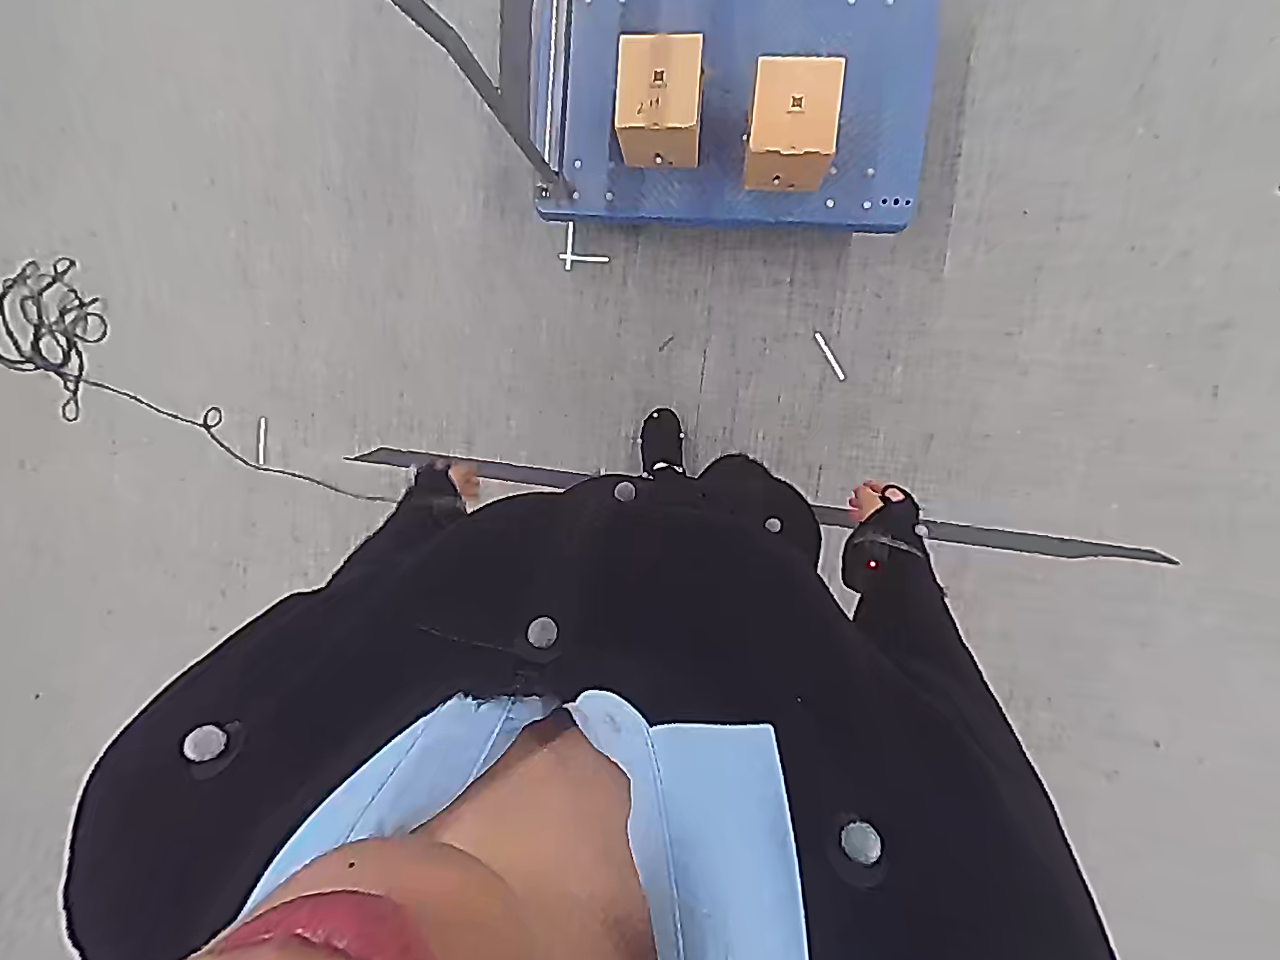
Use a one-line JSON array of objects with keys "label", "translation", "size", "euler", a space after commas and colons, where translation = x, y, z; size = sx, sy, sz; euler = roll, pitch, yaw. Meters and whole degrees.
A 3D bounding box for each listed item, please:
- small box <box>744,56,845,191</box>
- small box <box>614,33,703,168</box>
[{"label": "small box", "translation": [0.309, -0.727, 1.115], "size": [0.168, 0.176, 0.179], "euler": [5, 96, 6]}, {"label": "small box", "translation": [0.043, -0.790, 1.137], "size": [0.168, 0.176, 0.179], "euler": [4, 96, 6]}]
